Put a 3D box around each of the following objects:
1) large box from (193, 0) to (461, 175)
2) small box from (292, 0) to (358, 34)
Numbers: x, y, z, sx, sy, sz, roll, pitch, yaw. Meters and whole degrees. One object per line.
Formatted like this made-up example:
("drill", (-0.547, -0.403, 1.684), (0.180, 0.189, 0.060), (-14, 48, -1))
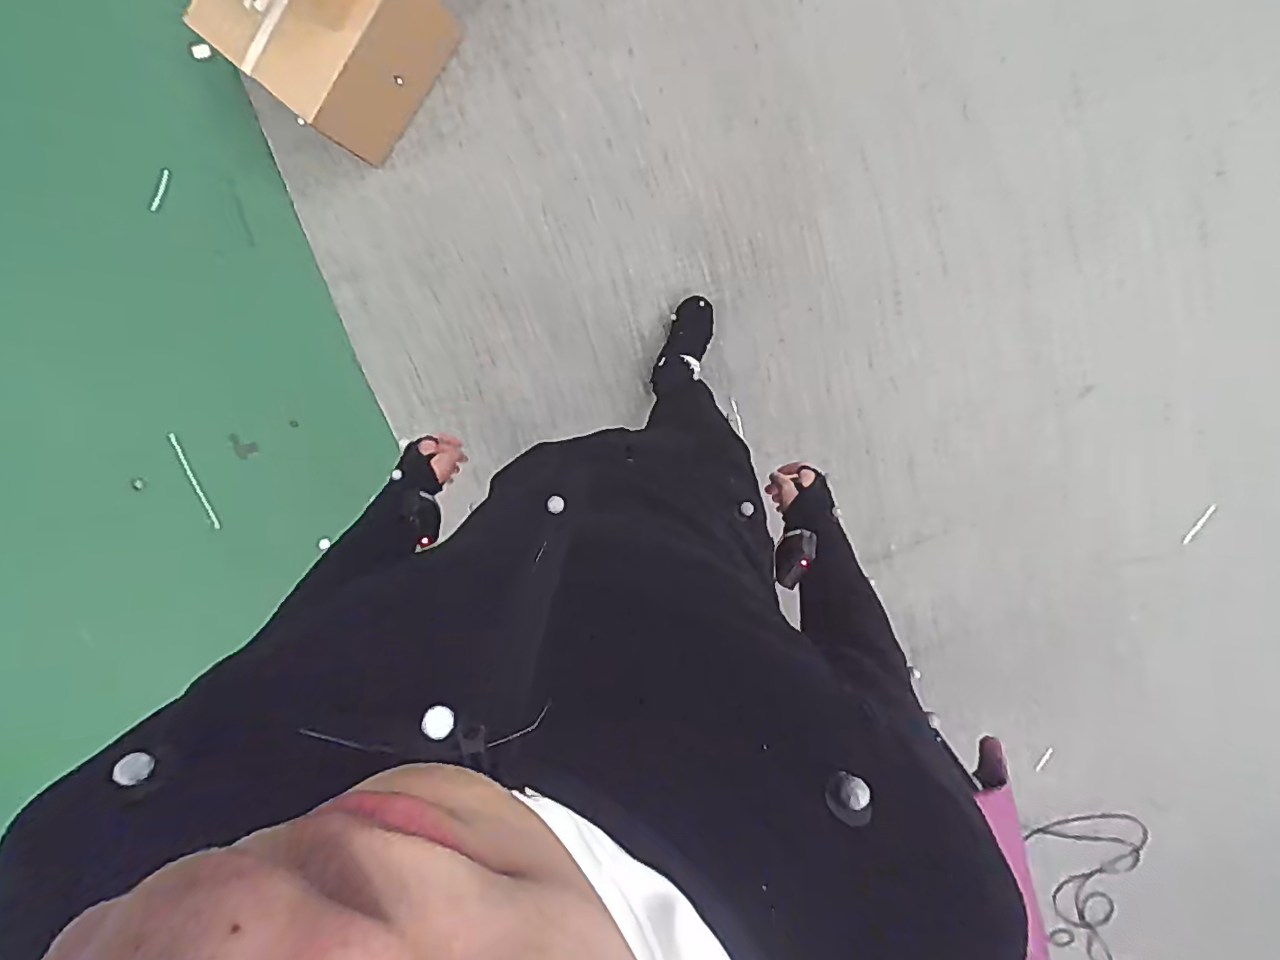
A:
("large box", (-0.691, -1.021, 1.251), (0.320, 0.320, 0.408), (39, 102, -6))
("small box", (-0.628, -0.999, 1.000), (0.168, 0.176, 0.179), (38, 102, -8))
